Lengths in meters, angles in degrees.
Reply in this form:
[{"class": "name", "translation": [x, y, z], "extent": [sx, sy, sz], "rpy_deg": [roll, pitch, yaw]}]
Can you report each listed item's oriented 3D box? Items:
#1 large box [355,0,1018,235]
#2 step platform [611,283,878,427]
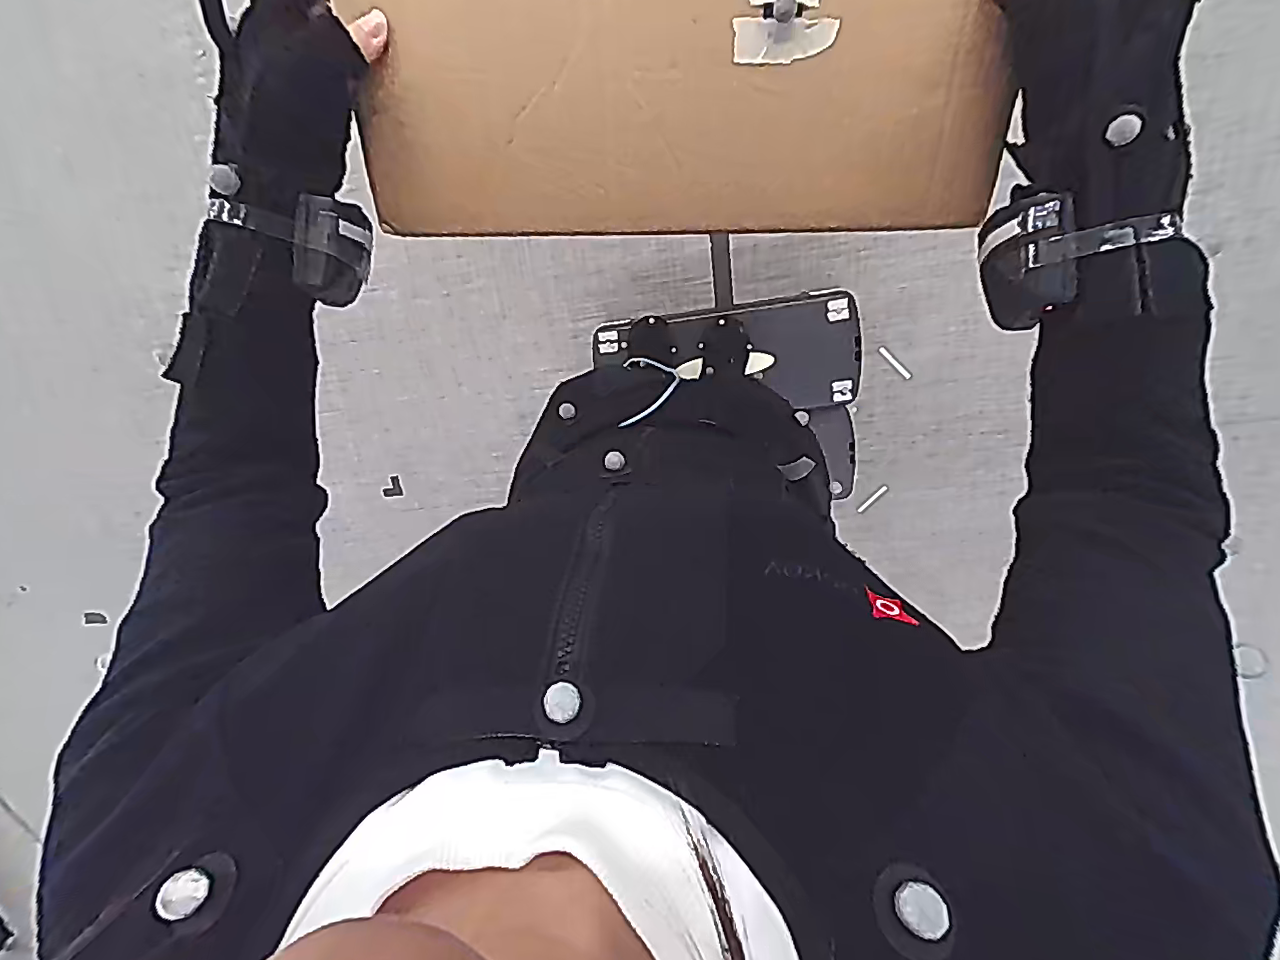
[{"class": "large box", "translation": [0.031, -0.382, 0.441], "extent": [0.408, 0.320, 0.320], "rpy_deg": [2, 117, 5]}, {"class": "step platform", "translation": [0.264, -0.327, 1.440], "extent": [0.684, 0.204, 0.286], "rpy_deg": [-7, 107, 9]}]
